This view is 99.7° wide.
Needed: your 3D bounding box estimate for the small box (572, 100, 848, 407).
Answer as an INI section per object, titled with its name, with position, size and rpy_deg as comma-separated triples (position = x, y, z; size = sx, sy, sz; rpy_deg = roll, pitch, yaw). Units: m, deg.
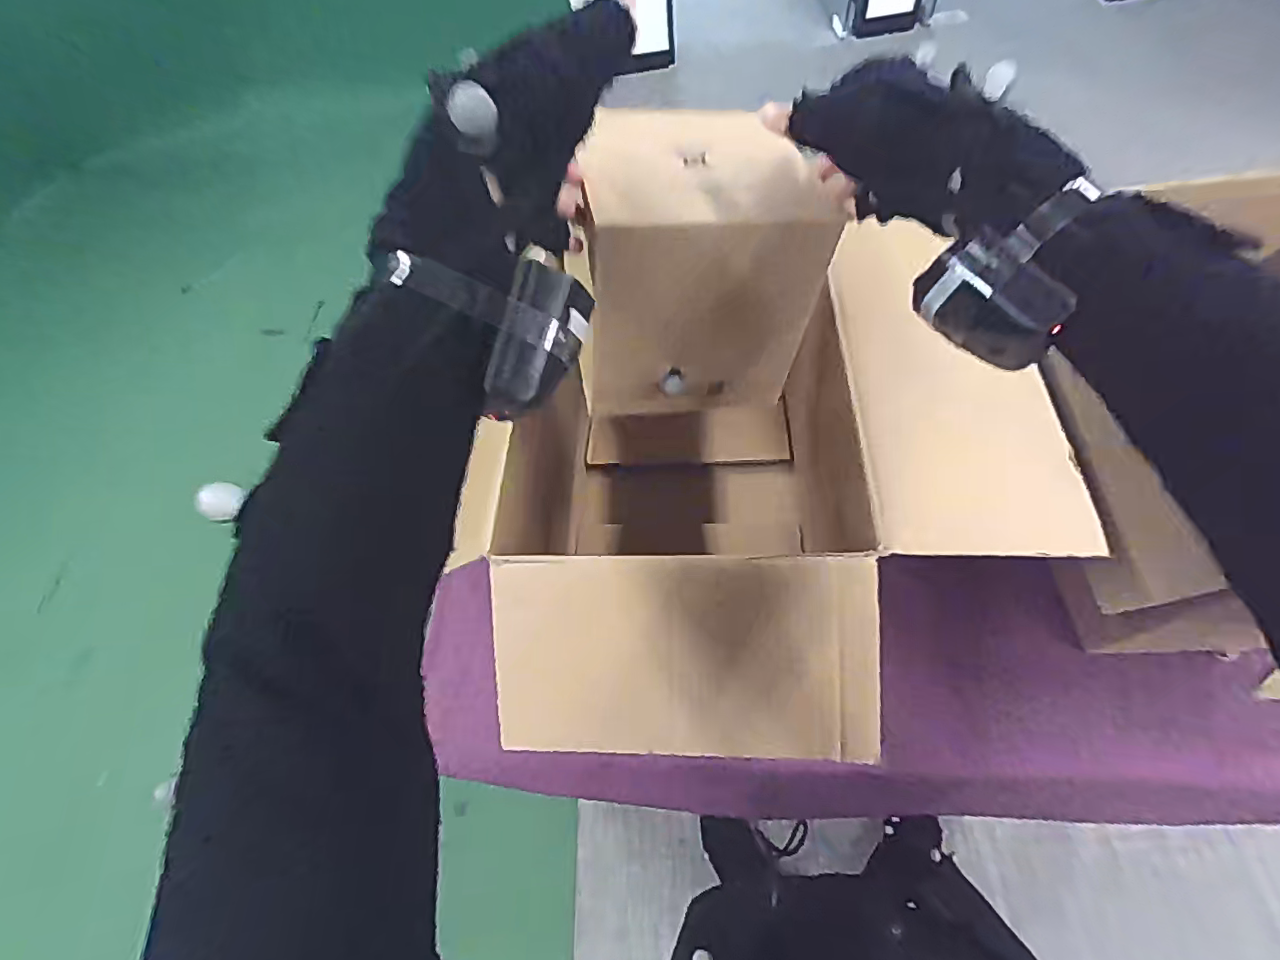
[small box]
position = 0.033, -0.182, 0.443
size = 0.168, 0.176, 0.179
rpy_deg = -6, 54, -10
